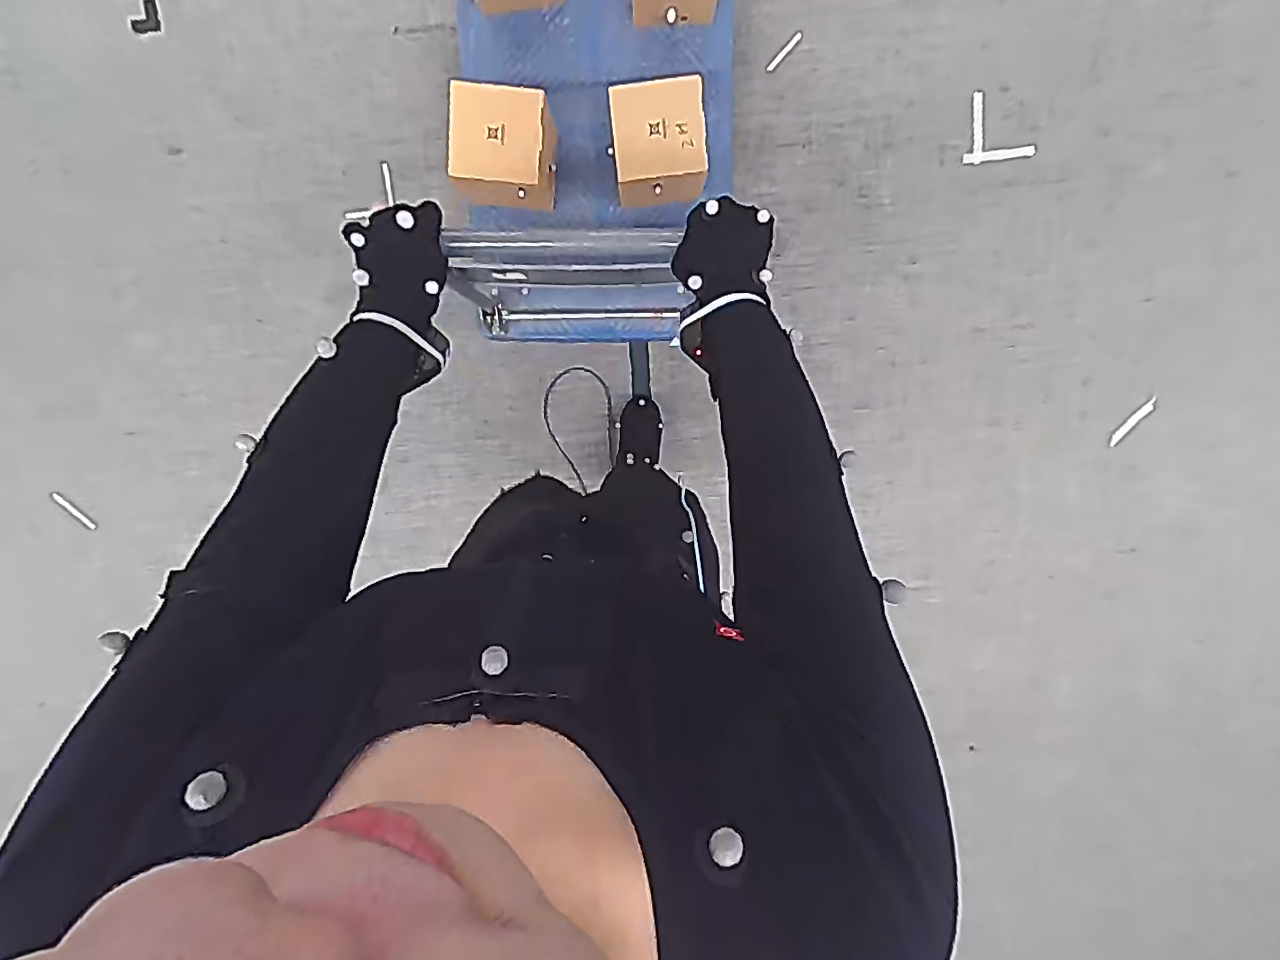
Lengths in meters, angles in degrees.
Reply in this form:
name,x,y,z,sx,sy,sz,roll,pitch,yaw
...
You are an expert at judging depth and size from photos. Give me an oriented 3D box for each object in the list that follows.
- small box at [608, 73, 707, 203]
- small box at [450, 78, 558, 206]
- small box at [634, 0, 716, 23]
name,x,y,z,sx,sy,sz,roll,pitch,yaw
small box,0.037,-0.679,1.094,0.179,0.176,0.168,-6,101,2
small box,-0.270,-0.674,1.098,0.179,0.176,0.168,5,100,-2
small box,0.067,-1.020,1.027,0.168,0.176,0.179,-2,102,1
